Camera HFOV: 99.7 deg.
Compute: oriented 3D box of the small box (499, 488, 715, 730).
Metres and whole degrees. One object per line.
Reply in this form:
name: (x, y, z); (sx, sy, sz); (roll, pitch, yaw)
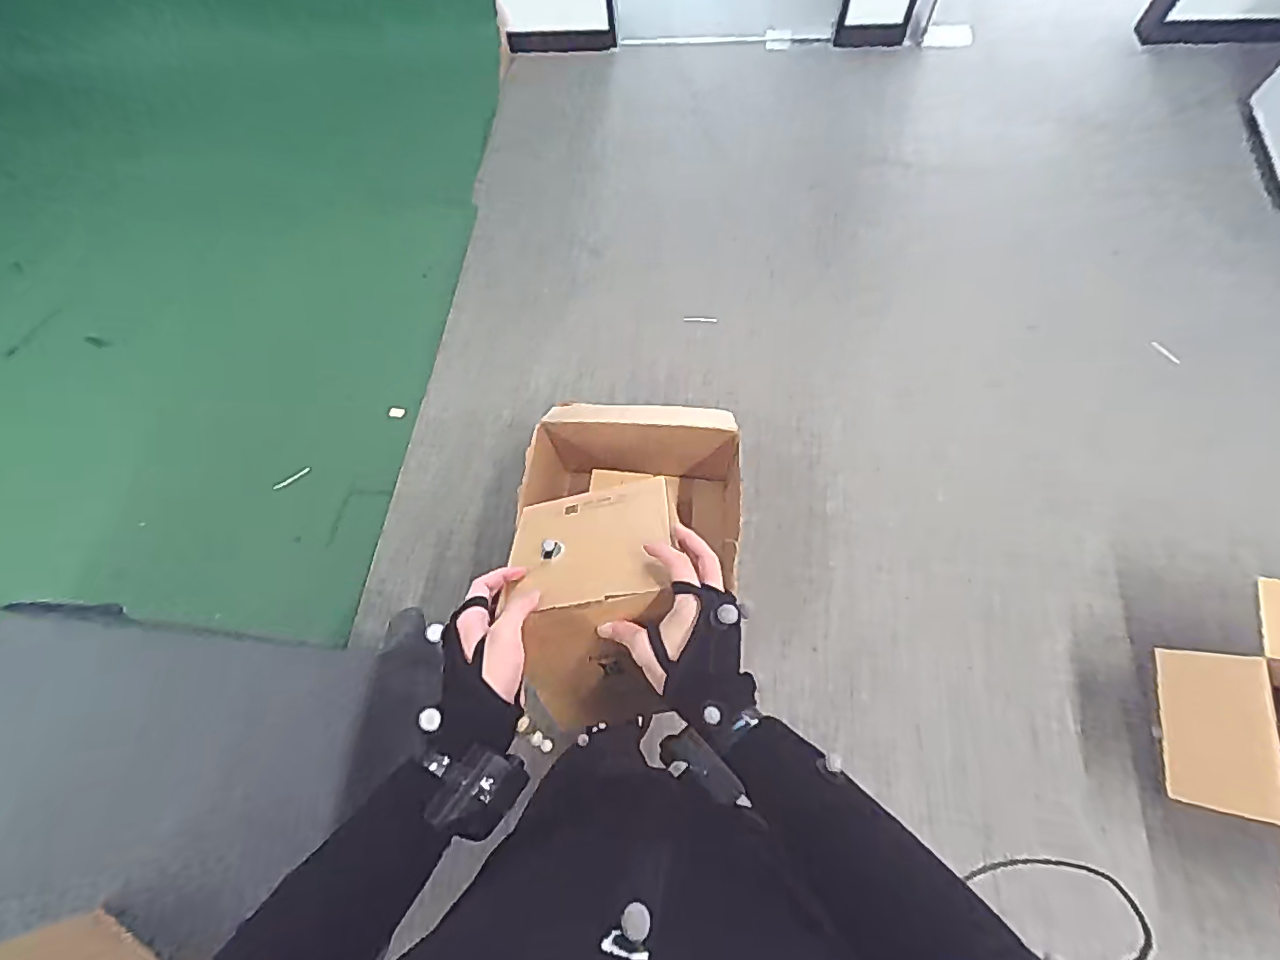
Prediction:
small box: (-0.025, 0.125, 0.562); (0.168, 0.179, 0.176); (-12, 35, 8)
